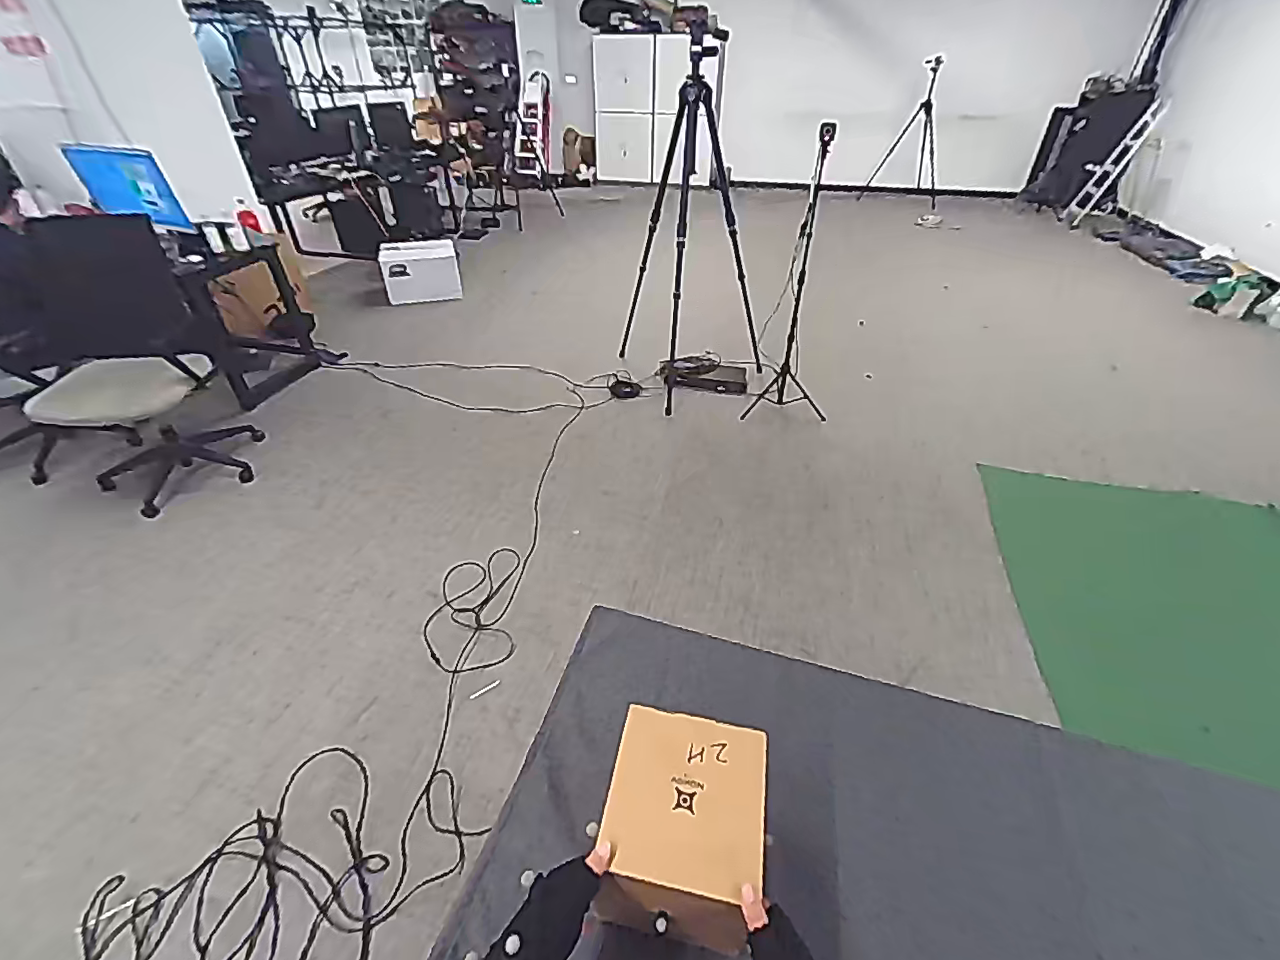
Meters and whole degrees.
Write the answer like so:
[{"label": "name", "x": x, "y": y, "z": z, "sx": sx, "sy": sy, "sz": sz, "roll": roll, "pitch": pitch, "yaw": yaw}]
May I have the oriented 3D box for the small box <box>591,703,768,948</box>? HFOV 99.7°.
[{"label": "small box", "x": 0.048, "y": 0.396, "z": 0.623, "sx": 0.168, "sy": 0.176, "sz": 0.179, "roll": 9, "pitch": 38, "yaw": 9}]
